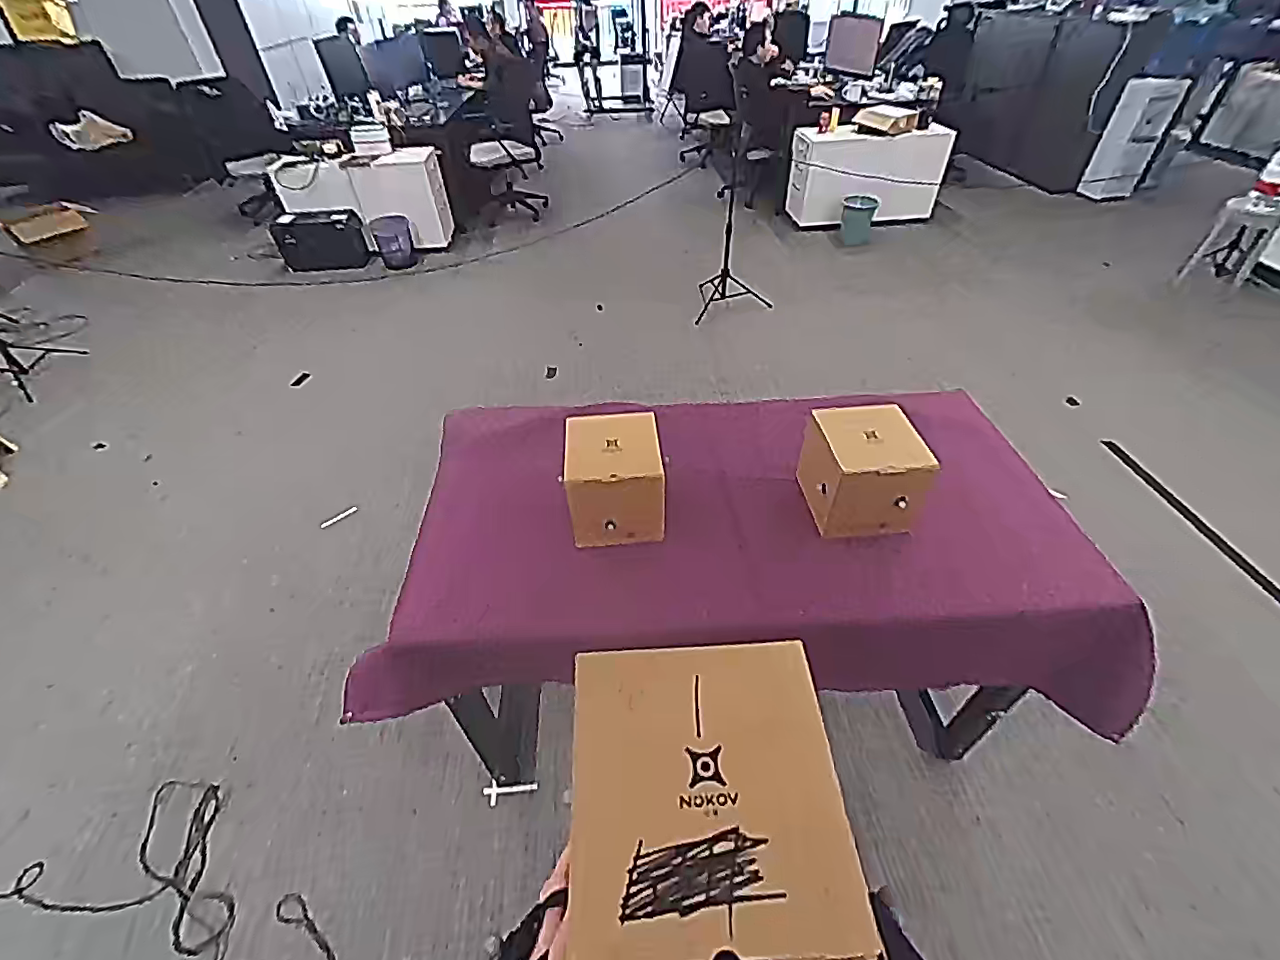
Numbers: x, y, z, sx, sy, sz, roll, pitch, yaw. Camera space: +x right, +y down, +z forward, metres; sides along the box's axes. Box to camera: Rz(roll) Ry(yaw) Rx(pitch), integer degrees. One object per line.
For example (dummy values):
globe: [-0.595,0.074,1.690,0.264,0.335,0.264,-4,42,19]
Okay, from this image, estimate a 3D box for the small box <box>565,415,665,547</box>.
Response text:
small box: [-0.046,0.001,0.998,0.168,0.176,0.179,-4,44,-3]

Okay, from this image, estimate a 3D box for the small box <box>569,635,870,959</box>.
small box: [0.042,0.234,0.401,0.168,0.176,0.179,-3,50,-1]

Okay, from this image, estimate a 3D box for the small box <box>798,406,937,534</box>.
small box: [0.403,-0.013,0.992,0.168,0.176,0.179,-4,43,-2]
